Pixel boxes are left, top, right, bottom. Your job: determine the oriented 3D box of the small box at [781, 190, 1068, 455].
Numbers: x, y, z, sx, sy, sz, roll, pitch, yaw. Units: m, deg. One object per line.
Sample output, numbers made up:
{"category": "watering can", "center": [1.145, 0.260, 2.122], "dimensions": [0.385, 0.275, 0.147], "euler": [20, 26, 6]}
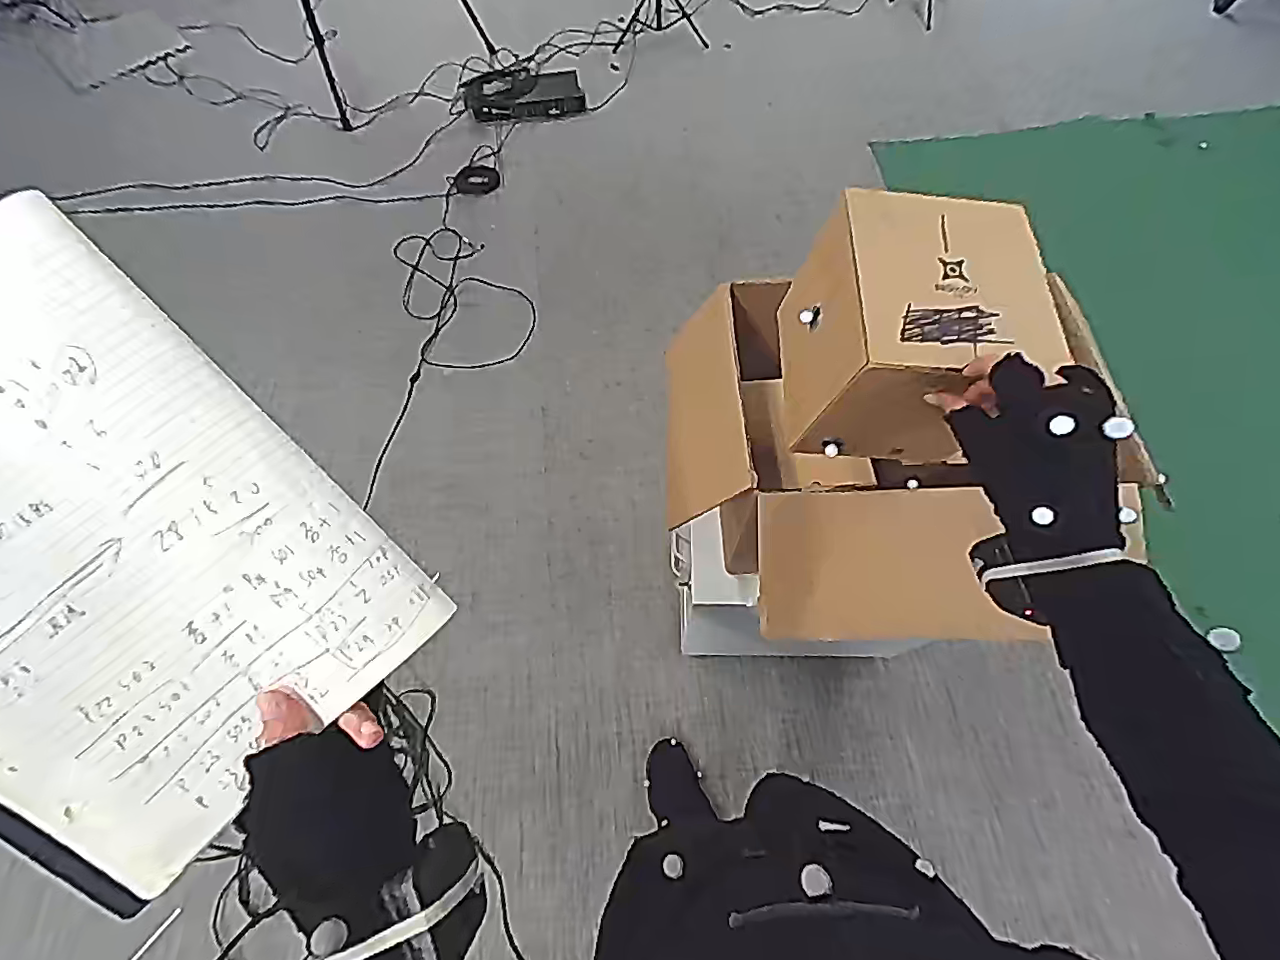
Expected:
{"category": "small box", "center": [0.243, -0.135, 0.513], "dimensions": [0.168, 0.176, 0.179], "euler": [3, 68, -5]}
